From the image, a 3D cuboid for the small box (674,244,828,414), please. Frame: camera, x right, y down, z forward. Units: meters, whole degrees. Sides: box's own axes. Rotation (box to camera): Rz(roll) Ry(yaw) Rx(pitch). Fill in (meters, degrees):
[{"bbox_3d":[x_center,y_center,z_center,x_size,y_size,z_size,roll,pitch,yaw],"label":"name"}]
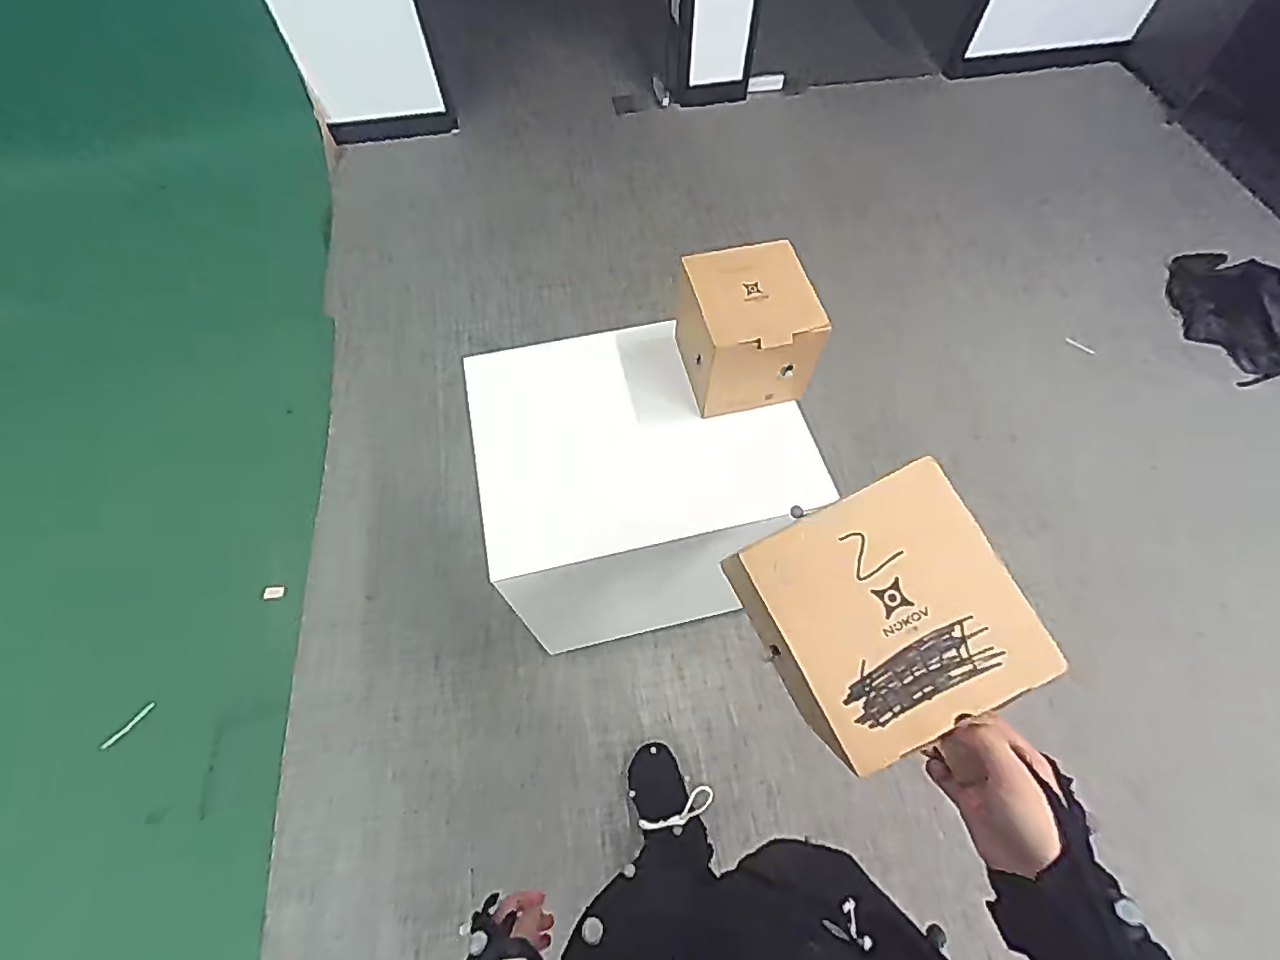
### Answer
[{"bbox_3d":[0.153,-0.216,0.812,0.168,0.176,0.179,-12,63,-7],"label":"small box"}]
